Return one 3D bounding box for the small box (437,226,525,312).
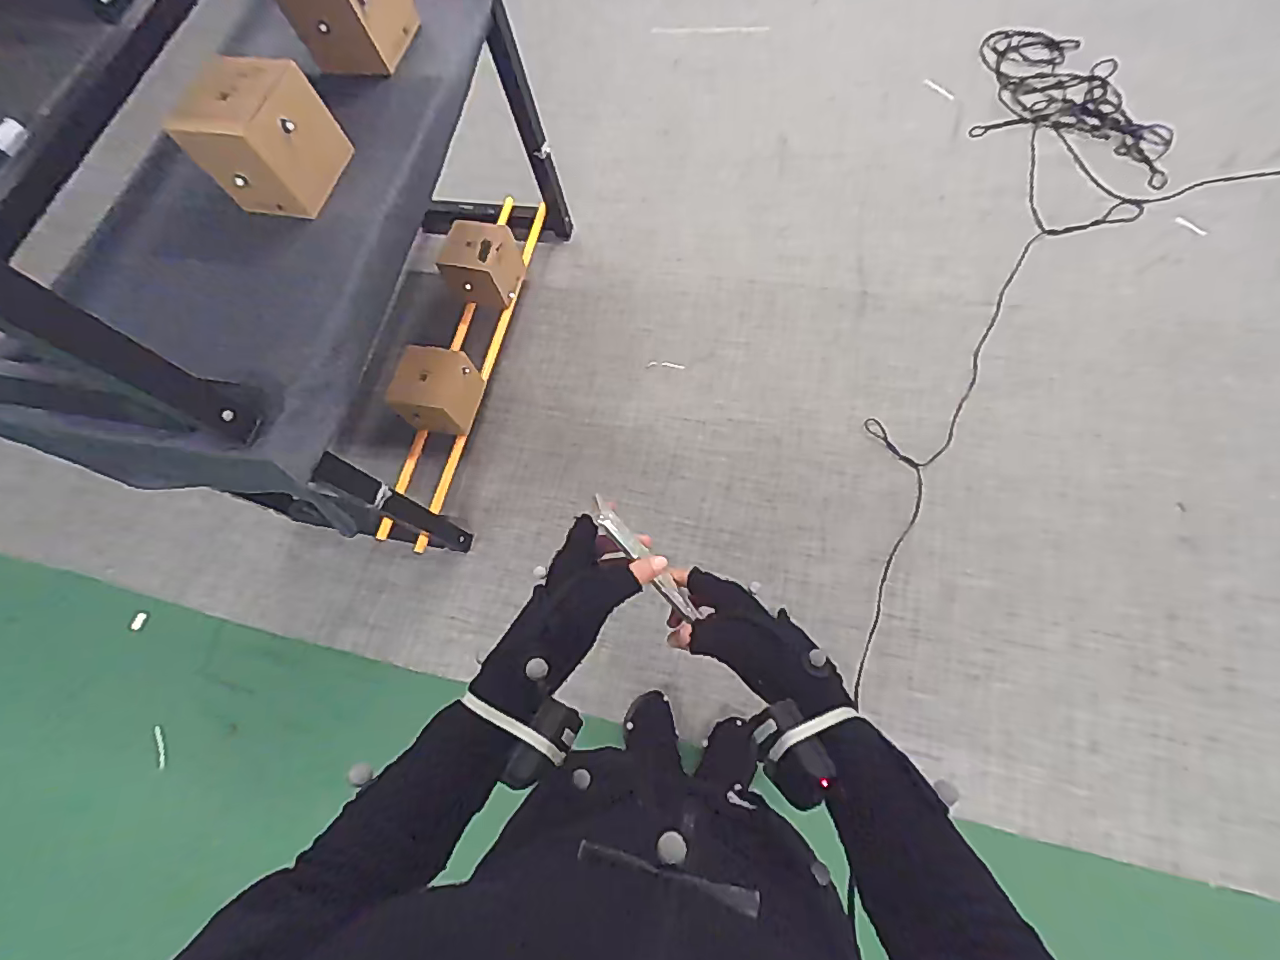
[{"bbox_3d":[-0.464,-0.624,1.614,0.179,0.176,0.168,12,71,12],"label":"small box"}]

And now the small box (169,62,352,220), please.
[{"bbox_3d":[-0.651,-0.590,0.954,0.168,0.176,0.179,12,71,12],"label":"small box"}]
